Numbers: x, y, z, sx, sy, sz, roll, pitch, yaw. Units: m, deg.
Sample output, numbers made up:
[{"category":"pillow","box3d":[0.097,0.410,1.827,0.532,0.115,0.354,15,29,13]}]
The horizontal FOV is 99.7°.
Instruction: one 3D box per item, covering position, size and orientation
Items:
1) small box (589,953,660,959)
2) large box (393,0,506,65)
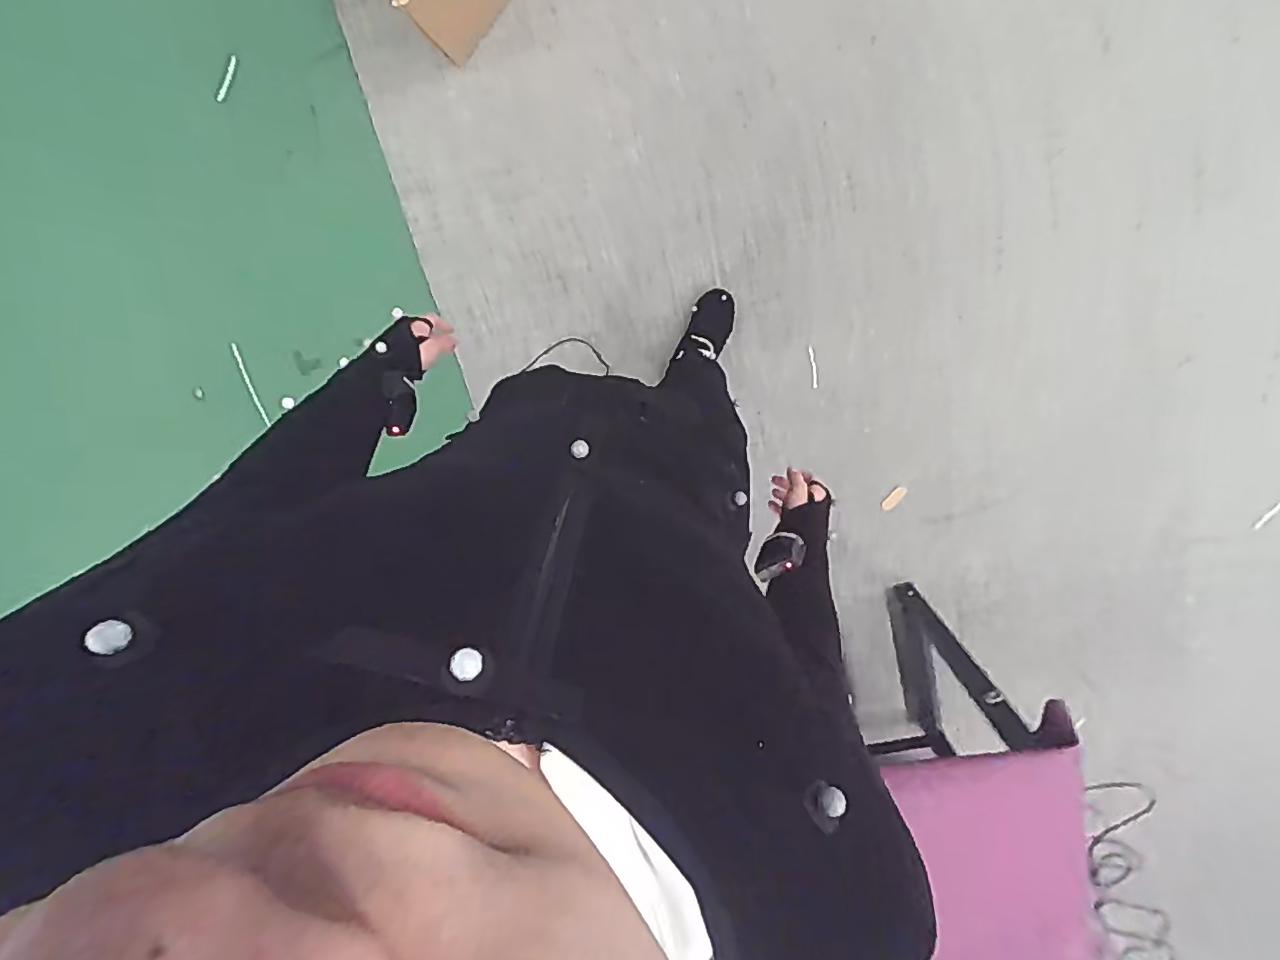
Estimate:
[{"category":"small box","box3d":[-0.026,1.143,1.141,0.168,0.176,0.179,-11,107,6]},{"category":"large box","box3d":[-0.429,-1.215,1.128,0.320,0.320,0.408,42,107,-9]}]
